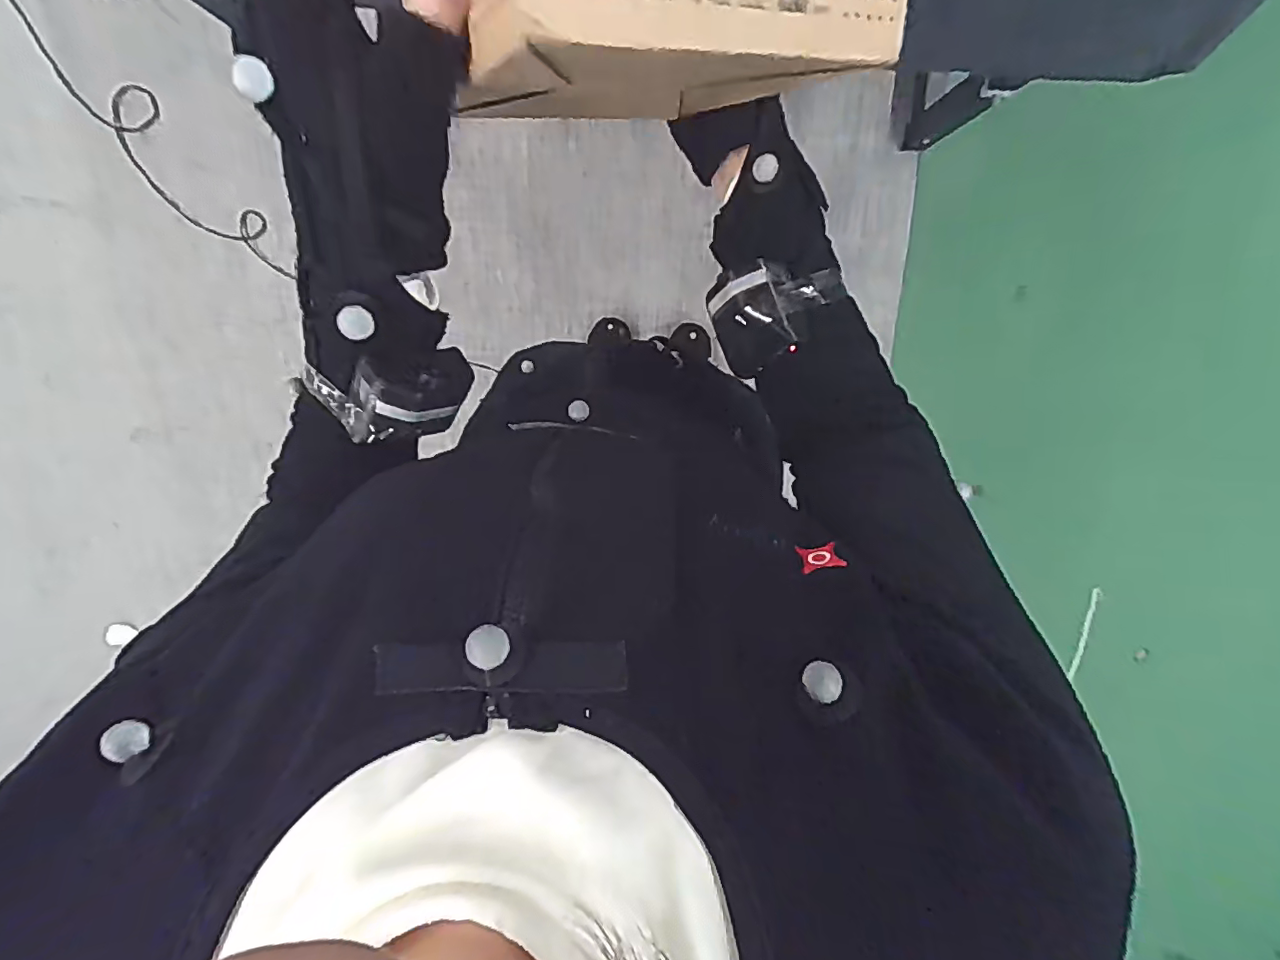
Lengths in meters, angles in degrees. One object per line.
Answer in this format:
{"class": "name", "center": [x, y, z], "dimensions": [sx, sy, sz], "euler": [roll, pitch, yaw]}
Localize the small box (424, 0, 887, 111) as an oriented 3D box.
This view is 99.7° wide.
{"class": "small box", "center": [-0.006, -0.268, 0.233], "dimensions": [0.168, 0.179, 0.176], "euler": [-18, 122, -24]}
